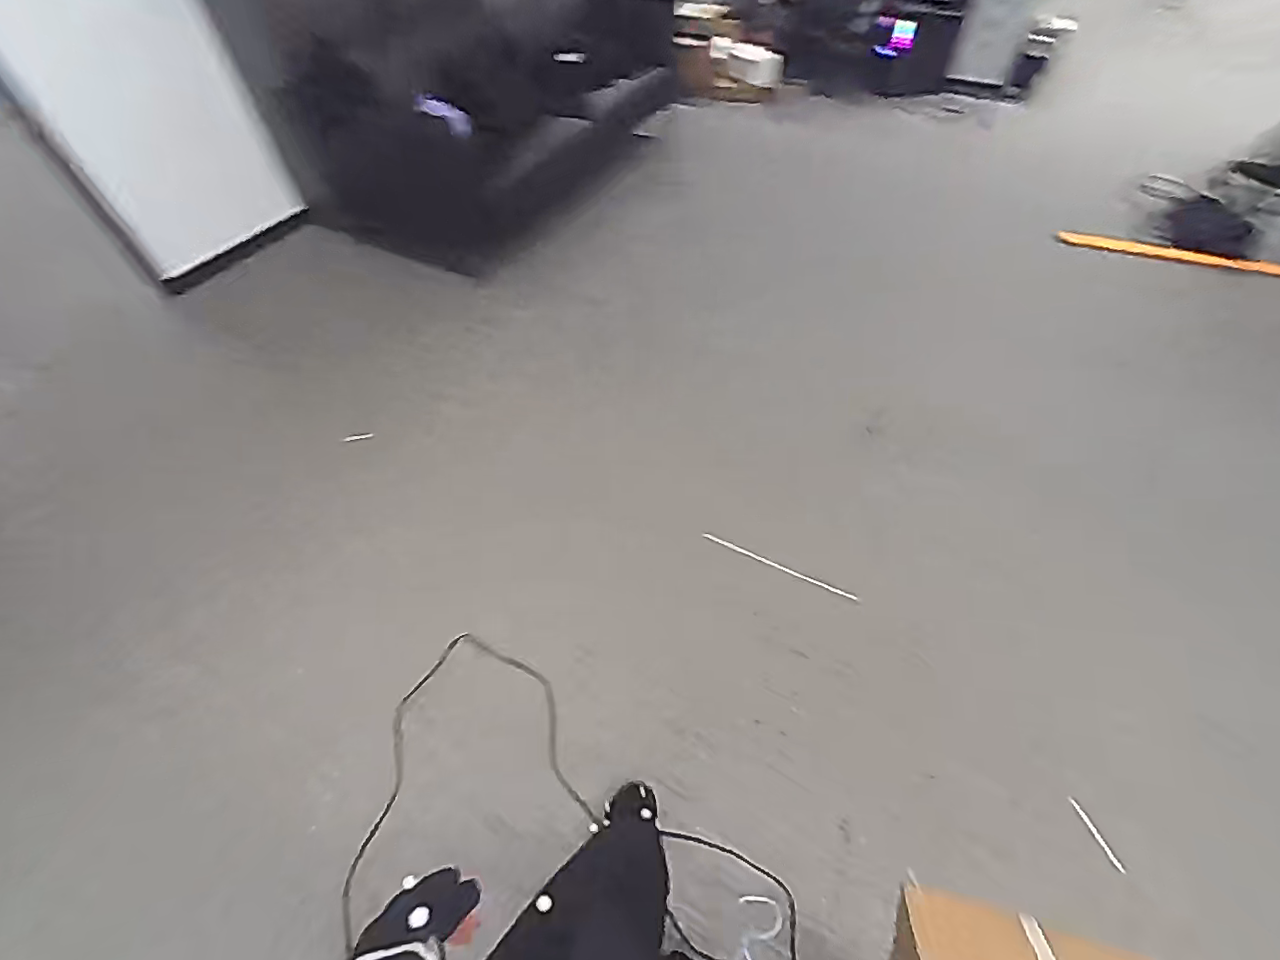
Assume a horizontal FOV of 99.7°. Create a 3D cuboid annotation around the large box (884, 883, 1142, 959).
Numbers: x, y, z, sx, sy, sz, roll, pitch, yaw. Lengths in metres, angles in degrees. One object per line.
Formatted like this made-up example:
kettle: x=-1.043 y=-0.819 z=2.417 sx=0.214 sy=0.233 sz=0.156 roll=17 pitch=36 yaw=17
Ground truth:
large box: x=0.452 y=0.773 z=0.582 sx=0.320 sy=0.408 sz=0.320 roll=9 pitch=95 yaw=16
